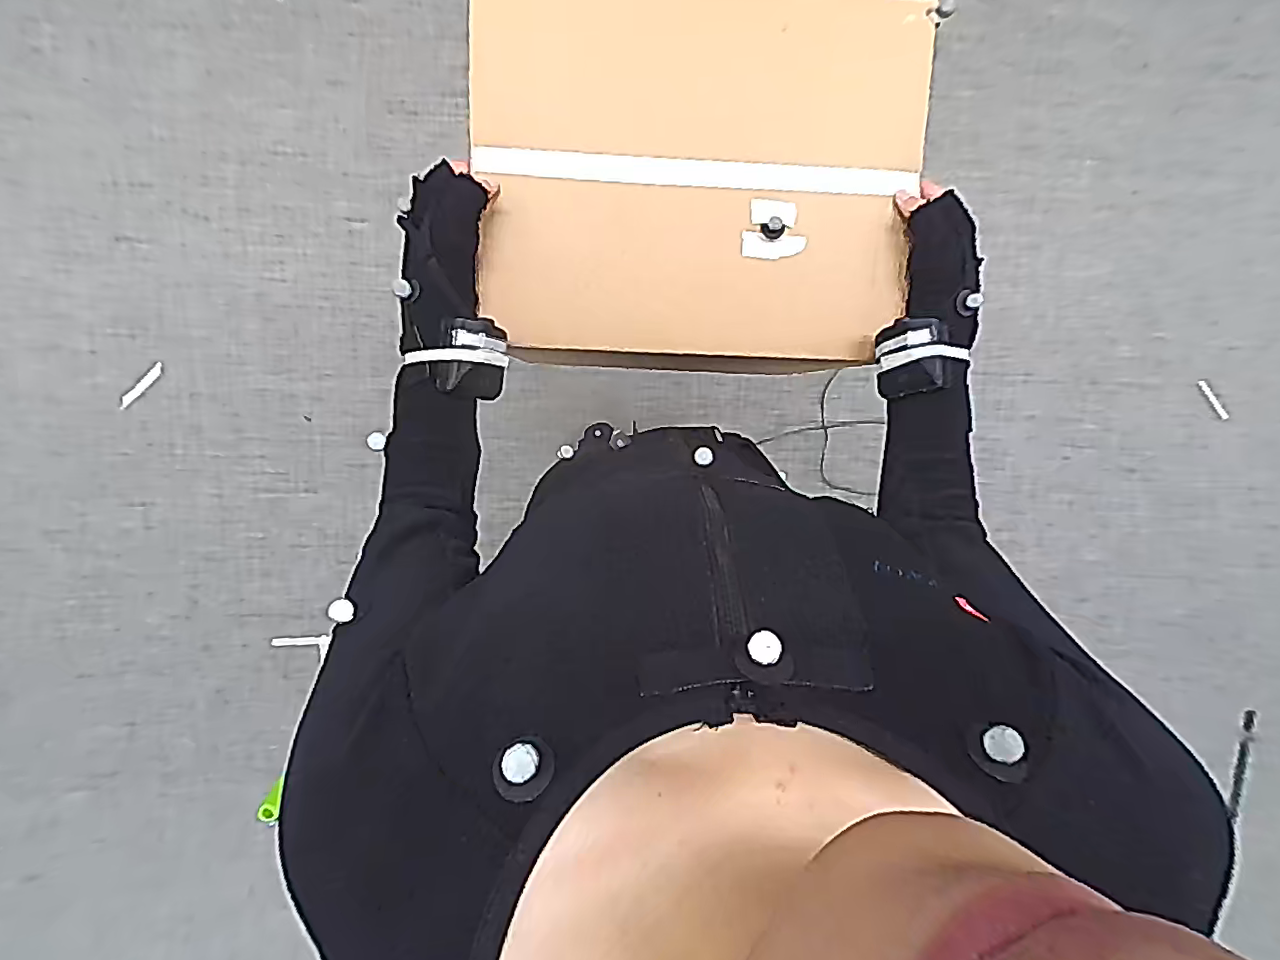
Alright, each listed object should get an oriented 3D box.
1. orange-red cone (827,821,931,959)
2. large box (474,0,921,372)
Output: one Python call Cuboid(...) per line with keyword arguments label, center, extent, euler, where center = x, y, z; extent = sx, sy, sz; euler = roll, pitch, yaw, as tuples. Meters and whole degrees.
Cuboid(label="orange-red cone", center=(0.663, 1.128, 1.445), extent=(0.198, 0.360, 0.199), euler=(-1, 95, -3))
Cuboid(label="large box", center=(0.041, -0.296, 0.639), extent=(0.408, 0.320, 0.320), euler=(1, 99, -5))
